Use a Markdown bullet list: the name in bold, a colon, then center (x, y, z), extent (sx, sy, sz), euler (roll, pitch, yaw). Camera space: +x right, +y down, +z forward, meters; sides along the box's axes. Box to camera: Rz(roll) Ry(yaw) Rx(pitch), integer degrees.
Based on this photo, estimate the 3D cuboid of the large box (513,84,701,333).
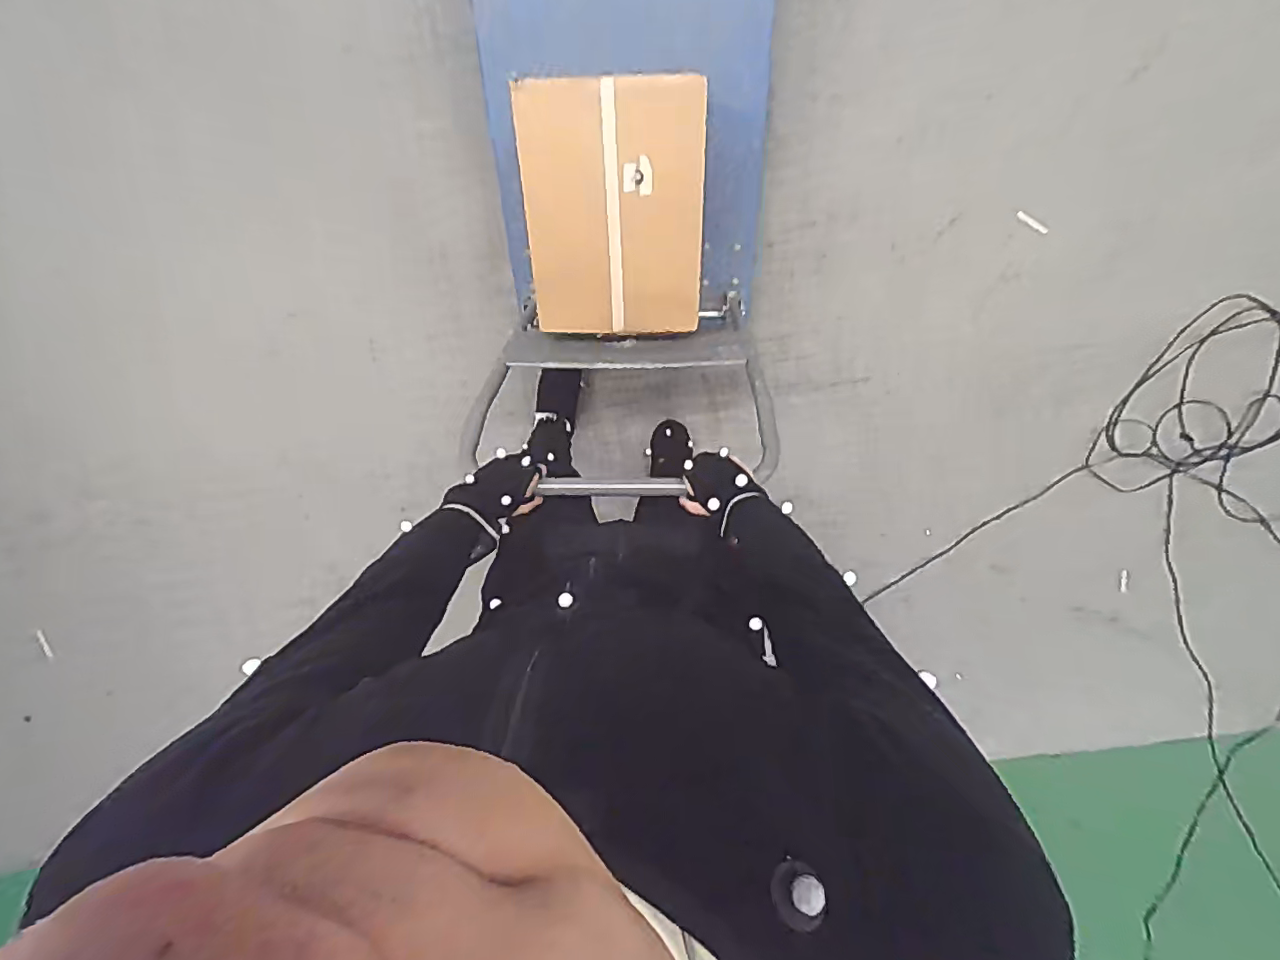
- **large box**: center (-0.039, -0.541, 1.100), extent (0.320, 0.320, 0.408), euler (0, 123, 3)
